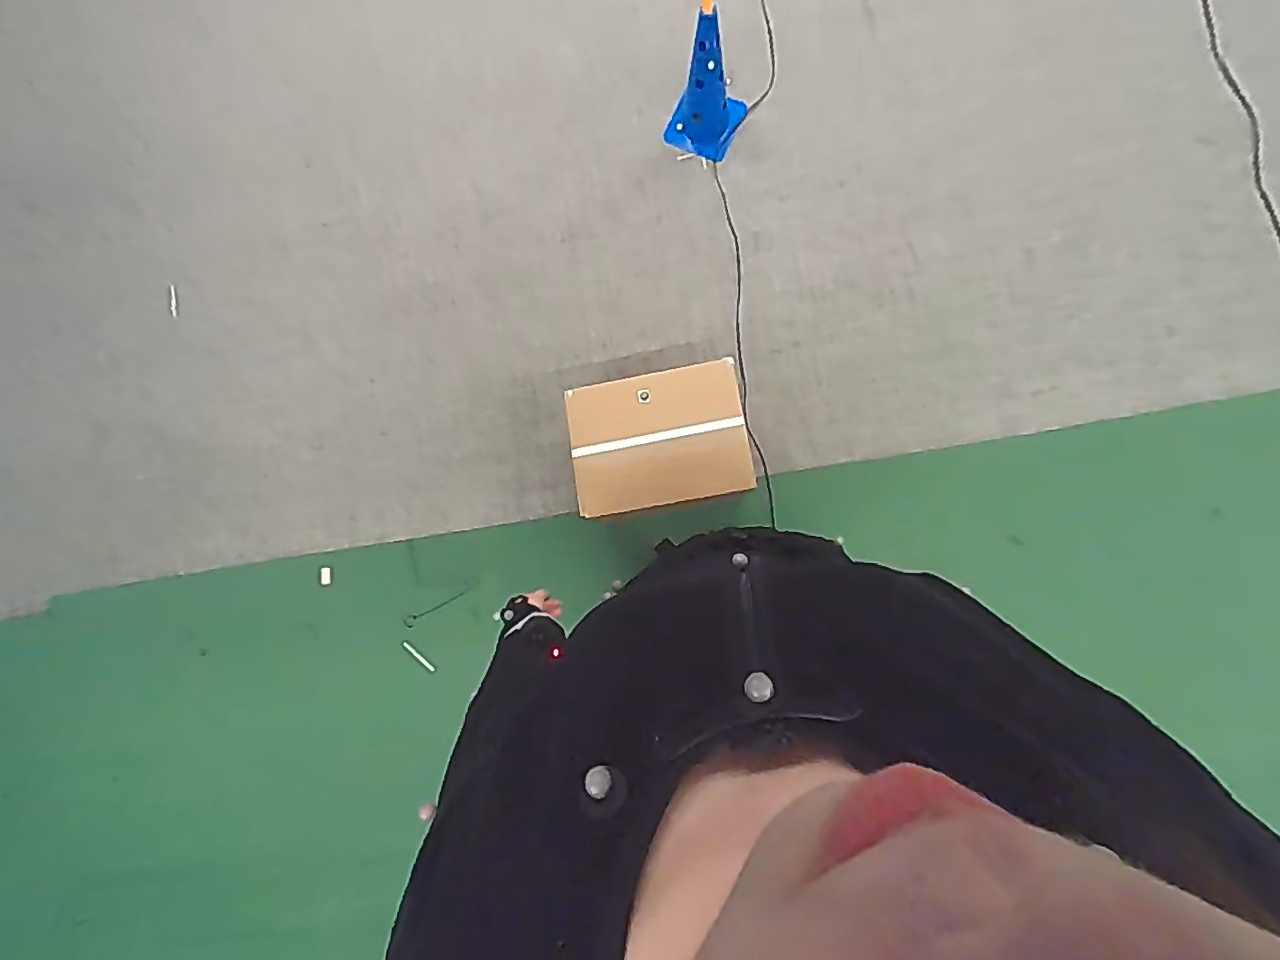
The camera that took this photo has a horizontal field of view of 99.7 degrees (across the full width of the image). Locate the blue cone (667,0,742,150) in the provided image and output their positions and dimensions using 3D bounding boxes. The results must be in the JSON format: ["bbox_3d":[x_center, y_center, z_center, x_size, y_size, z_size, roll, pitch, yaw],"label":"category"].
[{"bbox_3d":[0.174,-1.092,1.437,0.192,0.380,0.193,23,88,8],"label":"blue cone"}]
